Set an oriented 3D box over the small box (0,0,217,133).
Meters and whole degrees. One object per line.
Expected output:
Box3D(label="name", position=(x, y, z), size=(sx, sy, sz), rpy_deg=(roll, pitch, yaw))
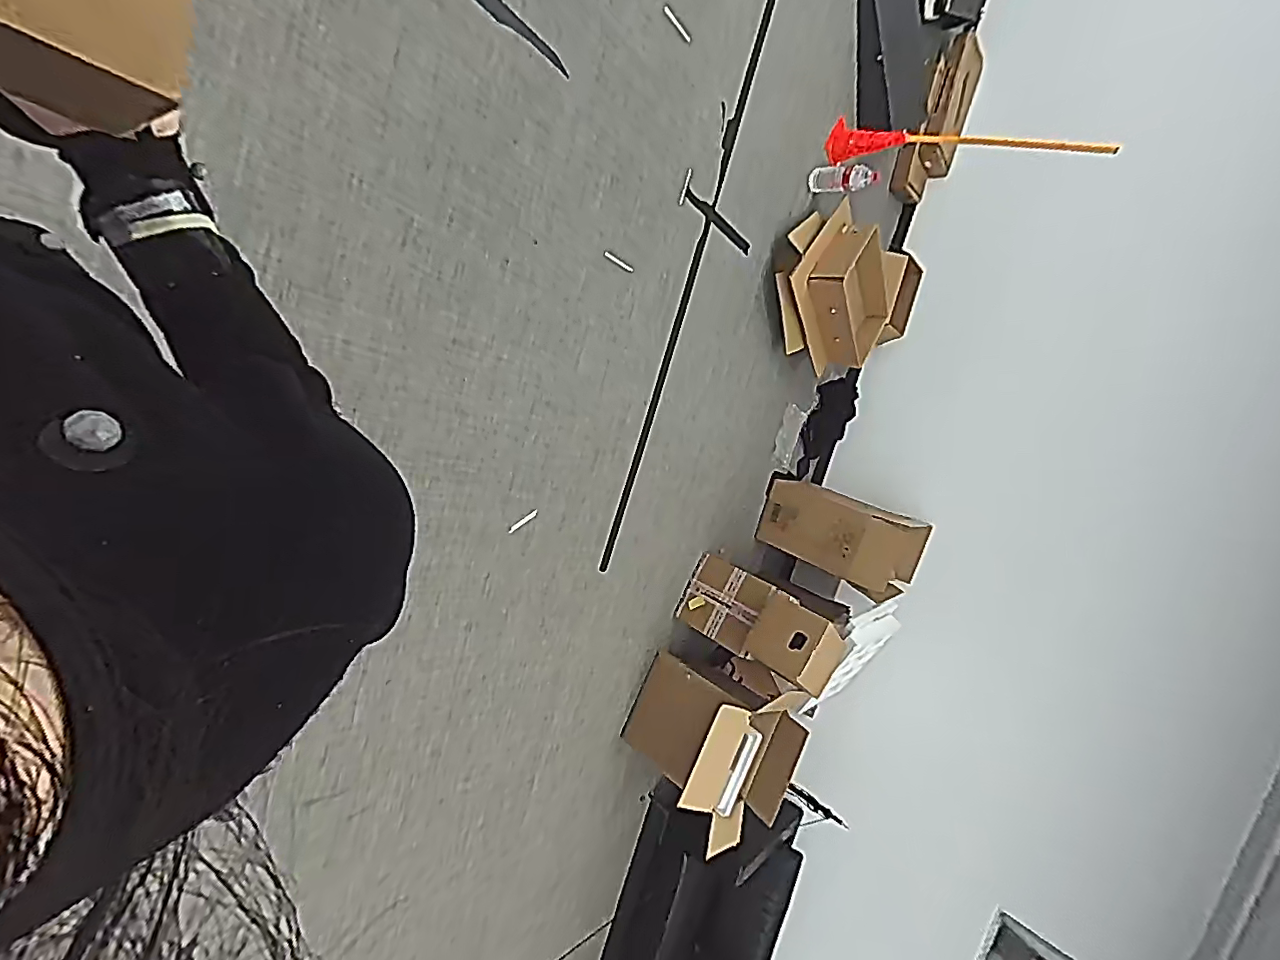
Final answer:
Box3D(label="small box", position=(-0.303, -0.285, 0.237), size=(0.168, 0.176, 0.179), rpy_deg=(2, 104, -53))
